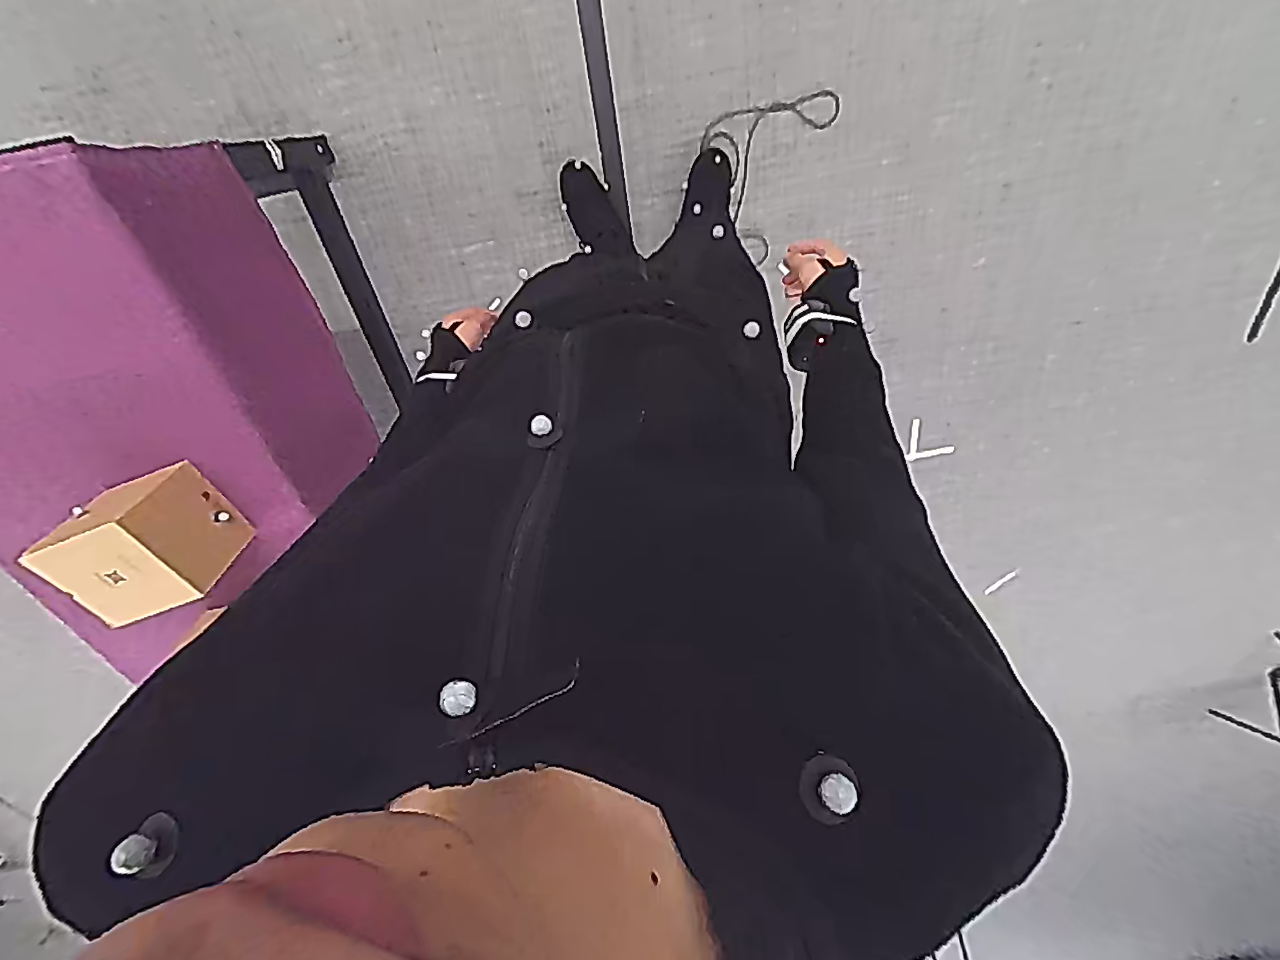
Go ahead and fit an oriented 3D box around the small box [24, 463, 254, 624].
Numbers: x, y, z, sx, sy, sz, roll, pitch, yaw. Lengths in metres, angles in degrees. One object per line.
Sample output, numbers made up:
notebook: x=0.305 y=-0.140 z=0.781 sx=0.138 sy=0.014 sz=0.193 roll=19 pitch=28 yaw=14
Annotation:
small box: x=-0.789 y=0.100 z=0.877 sx=0.179 sy=0.176 sz=0.168 roll=-18 pitch=124 yaw=9
